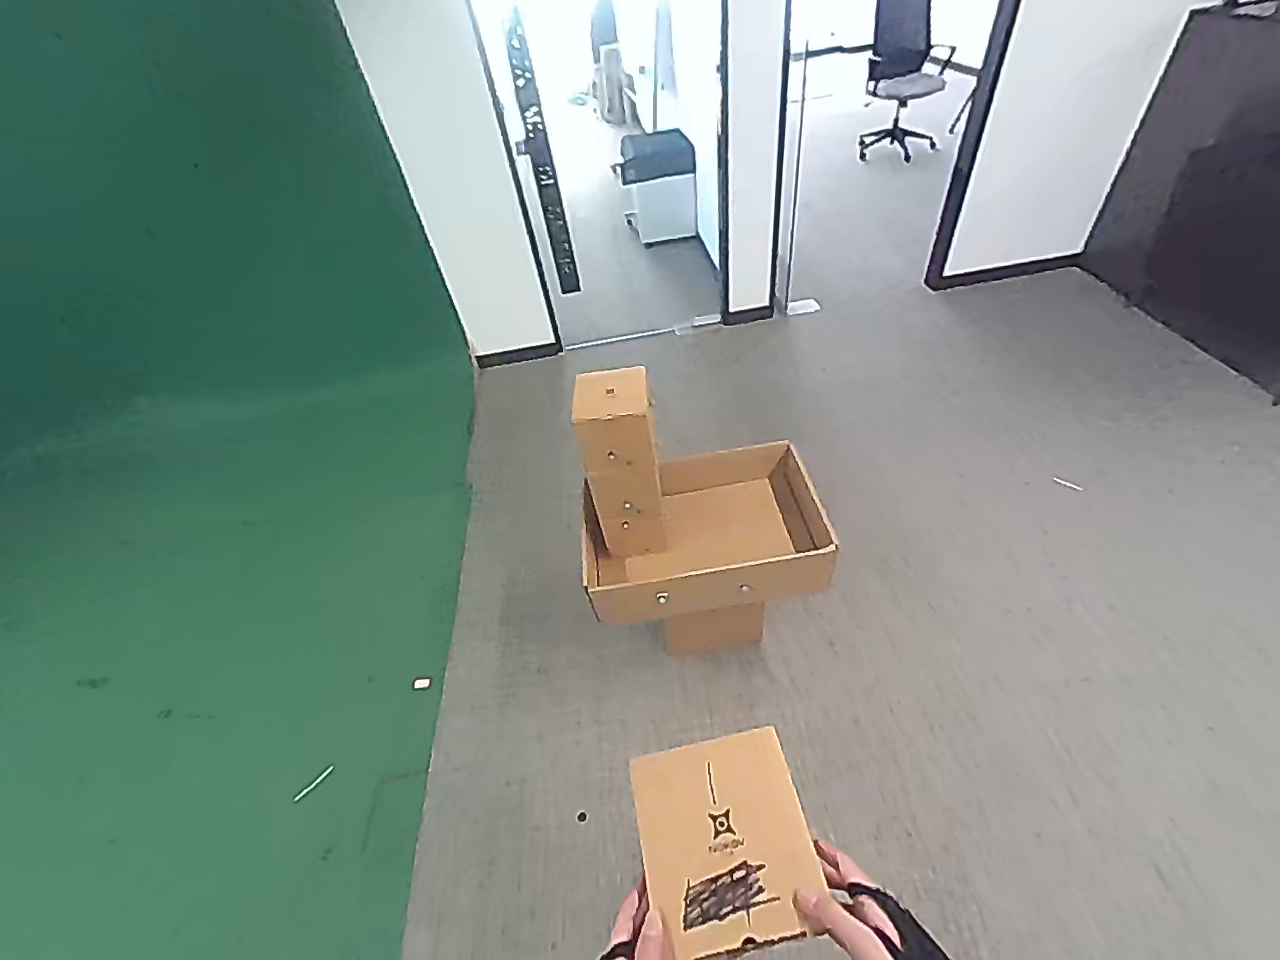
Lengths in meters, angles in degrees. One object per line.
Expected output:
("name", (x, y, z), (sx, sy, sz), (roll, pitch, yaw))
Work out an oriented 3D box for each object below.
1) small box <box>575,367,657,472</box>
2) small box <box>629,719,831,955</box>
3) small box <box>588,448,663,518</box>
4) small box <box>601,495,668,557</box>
("small box", (-0.050, -0.140, 1.264), (0.168, 0.176, 0.179), (-5, 46, 4))
("small box", (0.091, 0.392, 0.593), (0.168, 0.176, 0.179), (-12, 46, -1))
("small box", (-0.034, -0.026, 1.378), (0.168, 0.176, 0.179), (-7, 45, 4))
("small box", (-0.015, 0.089, 1.494), (0.168, 0.176, 0.179), (-8, 45, 2))
